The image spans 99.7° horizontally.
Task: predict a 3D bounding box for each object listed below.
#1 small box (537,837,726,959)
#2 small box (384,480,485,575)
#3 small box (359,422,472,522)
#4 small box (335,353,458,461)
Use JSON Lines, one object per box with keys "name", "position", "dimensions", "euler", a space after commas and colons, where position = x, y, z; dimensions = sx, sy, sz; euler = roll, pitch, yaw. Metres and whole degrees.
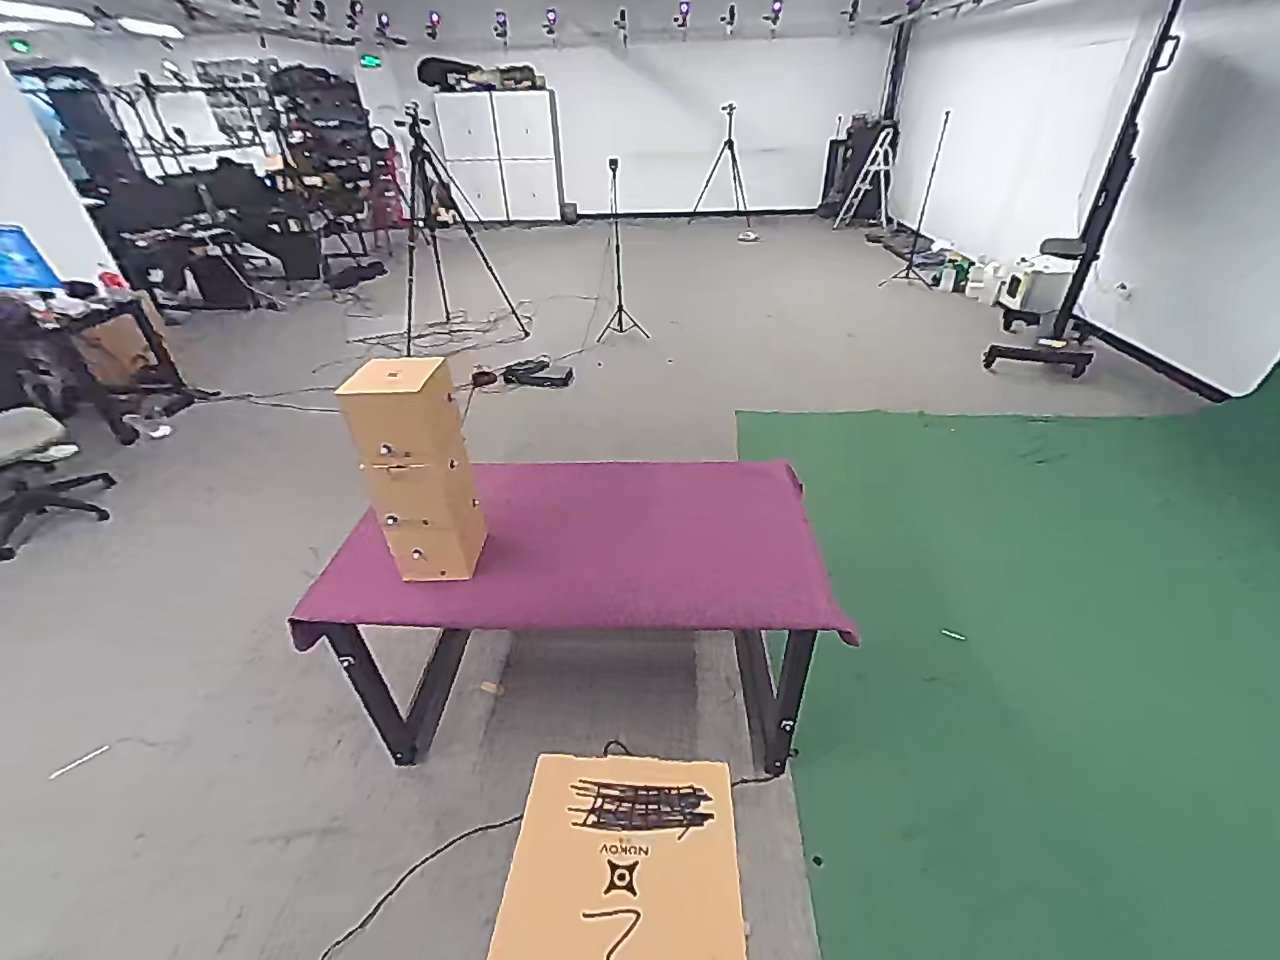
{"name": "small box", "position": [-0.004, 0.482, 0.508], "dimensions": [0.168, 0.176, 0.179], "euler": [2, 25, 7]}
{"name": "small box", "position": [-0.487, 0.118, 1.313], "dimensions": [0.168, 0.176, 0.179], "euler": [-2, 35, 1]}
{"name": "small box", "position": [-0.492, -0.016, 1.218], "dimensions": [0.168, 0.176, 0.179], "euler": [-1, 34, 1]}
{"name": "small box", "position": [-0.494, -0.155, 1.131], "dimensions": [0.168, 0.176, 0.179], "euler": [-1, 35, 2]}
